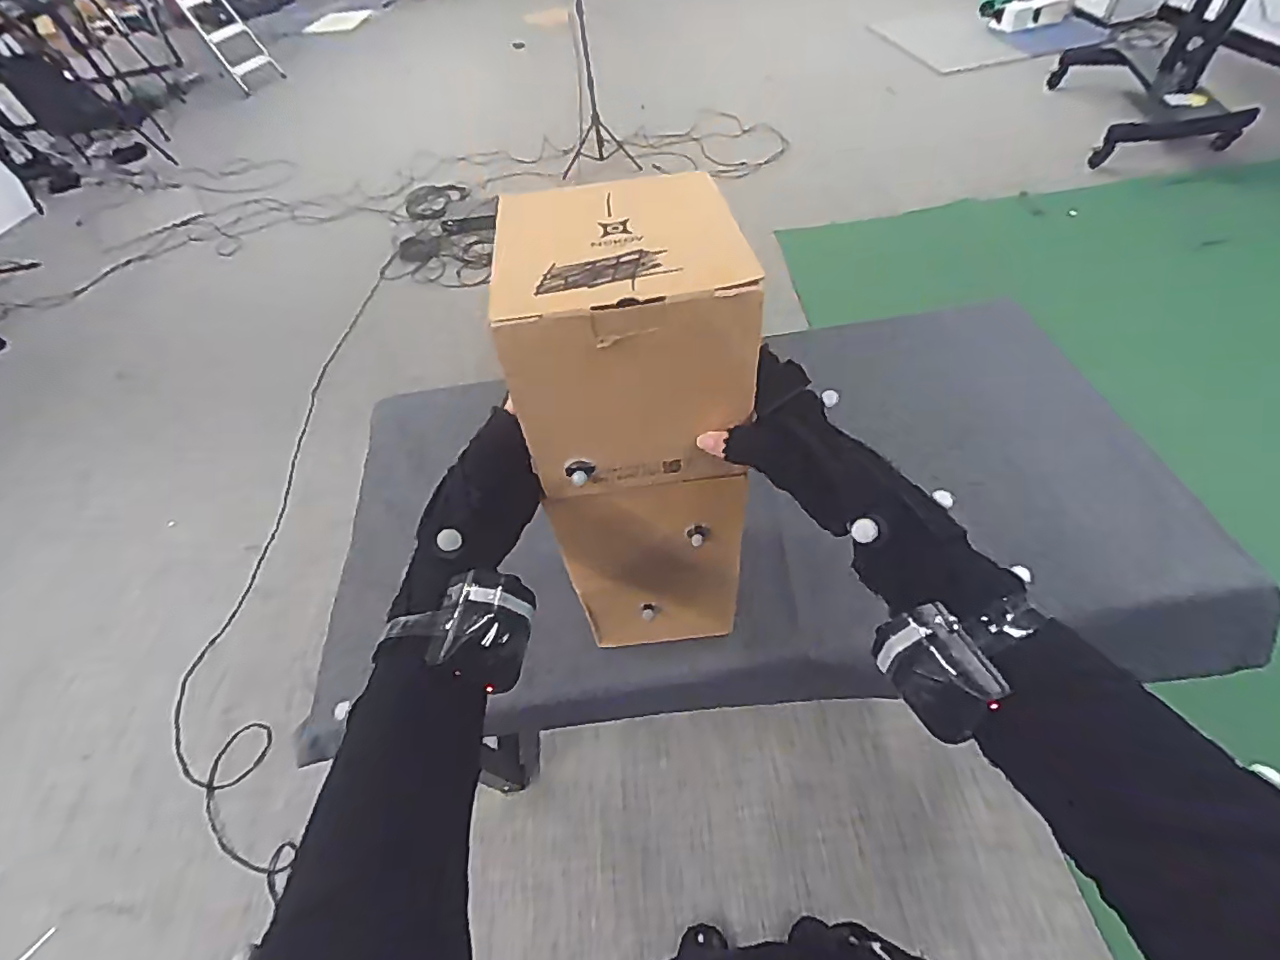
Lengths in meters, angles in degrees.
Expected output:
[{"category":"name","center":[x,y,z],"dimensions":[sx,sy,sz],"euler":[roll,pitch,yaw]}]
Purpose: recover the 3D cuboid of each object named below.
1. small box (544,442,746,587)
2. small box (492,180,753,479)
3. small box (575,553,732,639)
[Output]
[{"category":"small box","center":[0.005,-0.005,0.568],"dimensions":[0.179,0.176,0.168],"euler":[-8,50,1]},{"category":"small box","center":[-0.011,-0.114,0.441],"dimensions":[0.168,0.176,0.179],"euler":[-7,49,-1]},{"category":"small box","center":[0.019,0.092,0.697],"dimensions":[0.179,0.176,0.168],"euler":[-7,52,2]}]
